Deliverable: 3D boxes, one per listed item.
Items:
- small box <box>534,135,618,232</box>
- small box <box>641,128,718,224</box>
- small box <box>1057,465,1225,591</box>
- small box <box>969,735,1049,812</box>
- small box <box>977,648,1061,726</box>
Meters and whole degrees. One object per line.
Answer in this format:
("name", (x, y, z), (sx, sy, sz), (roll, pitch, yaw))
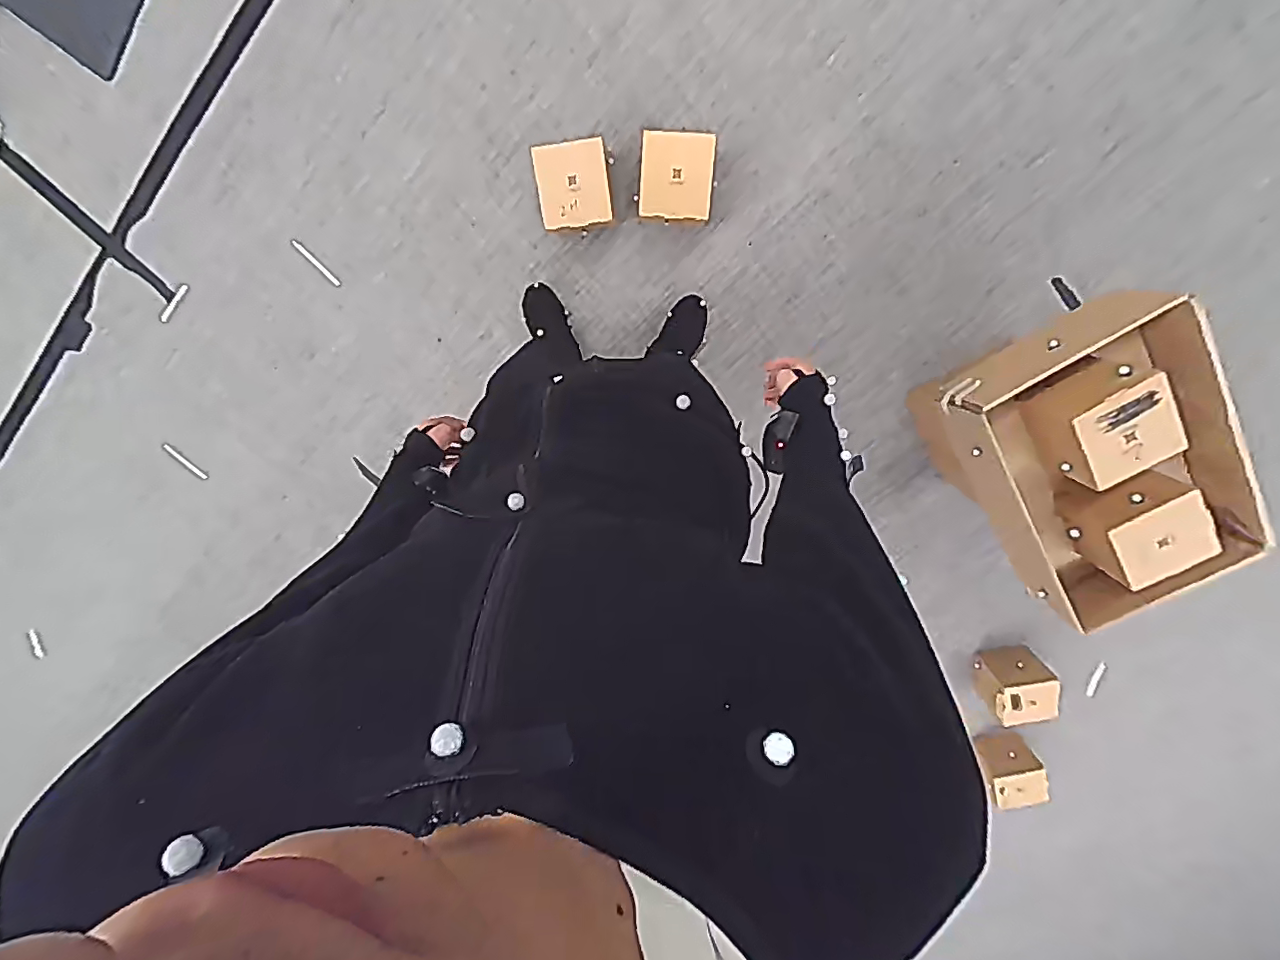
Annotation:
("small box", (-0.149, -0.712, 1.315), (0.168, 0.176, 0.179), (-6, 112, 5))
("small box", (0.088, -0.725, 1.304), (0.168, 0.176, 0.179), (3, 112, 0))
("small box", (1.042, 0.092, 1.136), (0.179, 0.176, 0.168), (-33, 106, 10))
("small box", (1.332, 1.055, 1.955), (0.179, 0.176, 0.168), (-17, 109, 7))
("small box", (1.262, 0.691, 1.815), (0.179, 0.176, 0.168), (-10, 111, 6))
